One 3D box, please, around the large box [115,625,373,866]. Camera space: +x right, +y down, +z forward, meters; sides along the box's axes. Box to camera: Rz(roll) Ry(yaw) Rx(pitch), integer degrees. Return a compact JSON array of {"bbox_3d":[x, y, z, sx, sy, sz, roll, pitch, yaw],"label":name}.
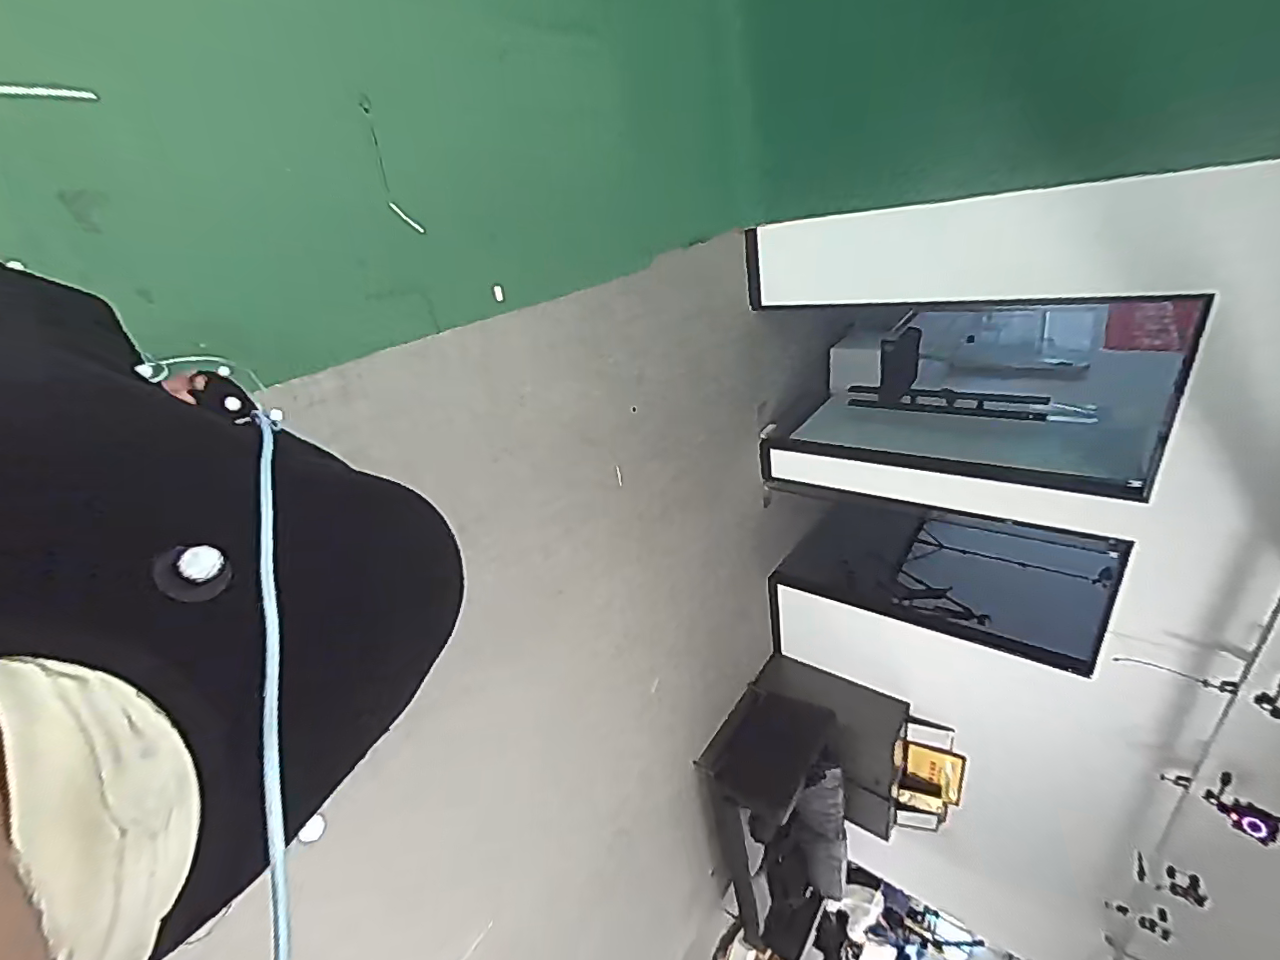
[{"bbox_3d":[-1.009,0.659,1.408,0.408,0.320,0.320,-39,128,-40],"label":"large box"}]
